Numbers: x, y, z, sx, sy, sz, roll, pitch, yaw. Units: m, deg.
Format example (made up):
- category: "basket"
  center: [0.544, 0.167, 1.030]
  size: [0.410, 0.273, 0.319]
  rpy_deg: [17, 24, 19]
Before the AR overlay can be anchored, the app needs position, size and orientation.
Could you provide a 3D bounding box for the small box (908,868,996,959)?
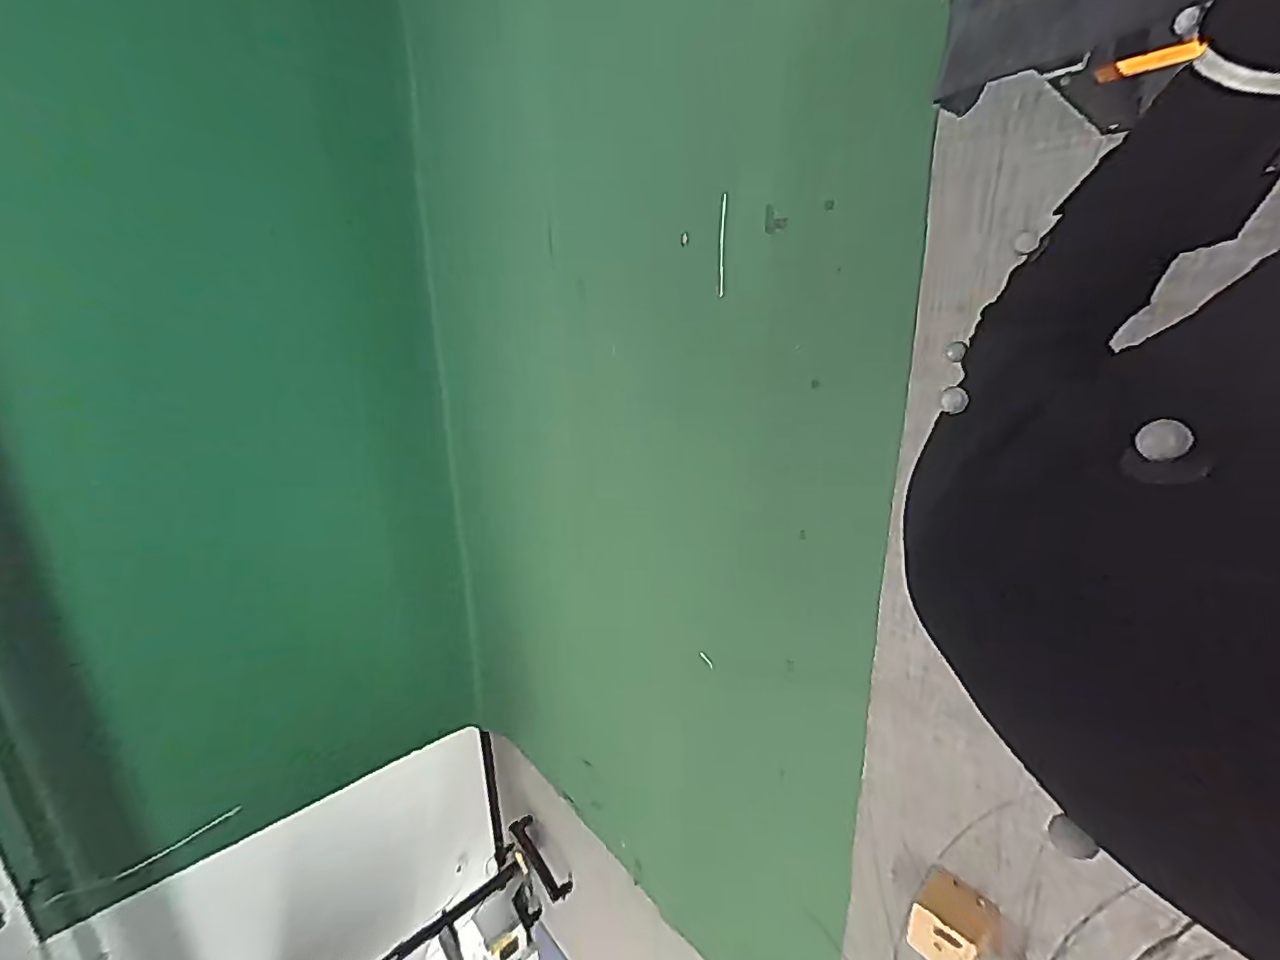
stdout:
- category: "small box"
  center: [0.915, 1.298, 1.581]
  size: [0.168, 0.176, 0.179]
  rpy_deg: [19, 116, 45]
